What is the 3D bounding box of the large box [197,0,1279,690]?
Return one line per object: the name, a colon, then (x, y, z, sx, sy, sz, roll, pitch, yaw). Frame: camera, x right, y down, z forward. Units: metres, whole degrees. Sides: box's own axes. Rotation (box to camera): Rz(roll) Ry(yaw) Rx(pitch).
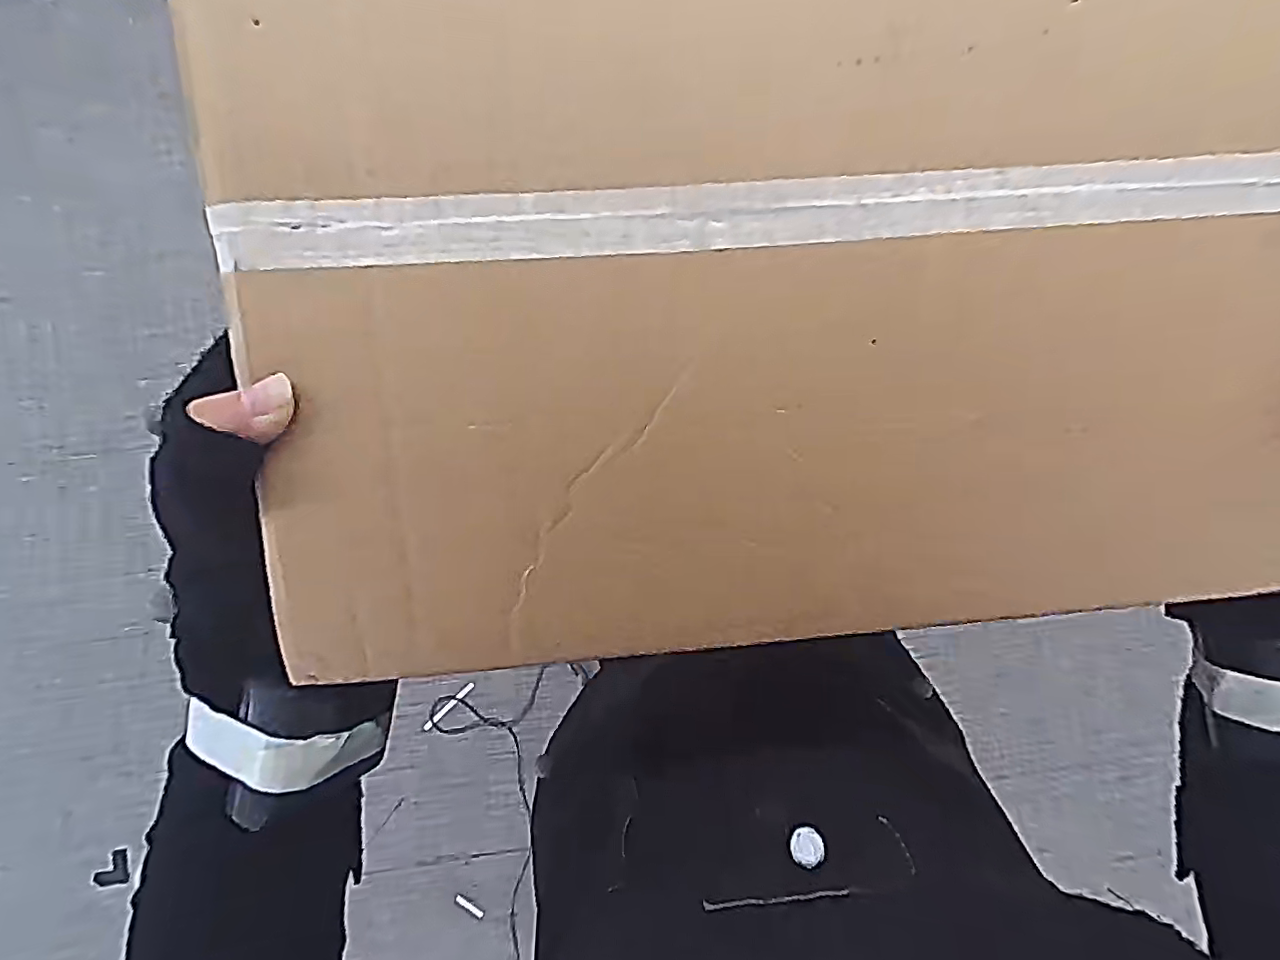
large box: (0.049, -0.105, 0.350, 0.408, 0.320, 0.320, -5, 96, -3)
